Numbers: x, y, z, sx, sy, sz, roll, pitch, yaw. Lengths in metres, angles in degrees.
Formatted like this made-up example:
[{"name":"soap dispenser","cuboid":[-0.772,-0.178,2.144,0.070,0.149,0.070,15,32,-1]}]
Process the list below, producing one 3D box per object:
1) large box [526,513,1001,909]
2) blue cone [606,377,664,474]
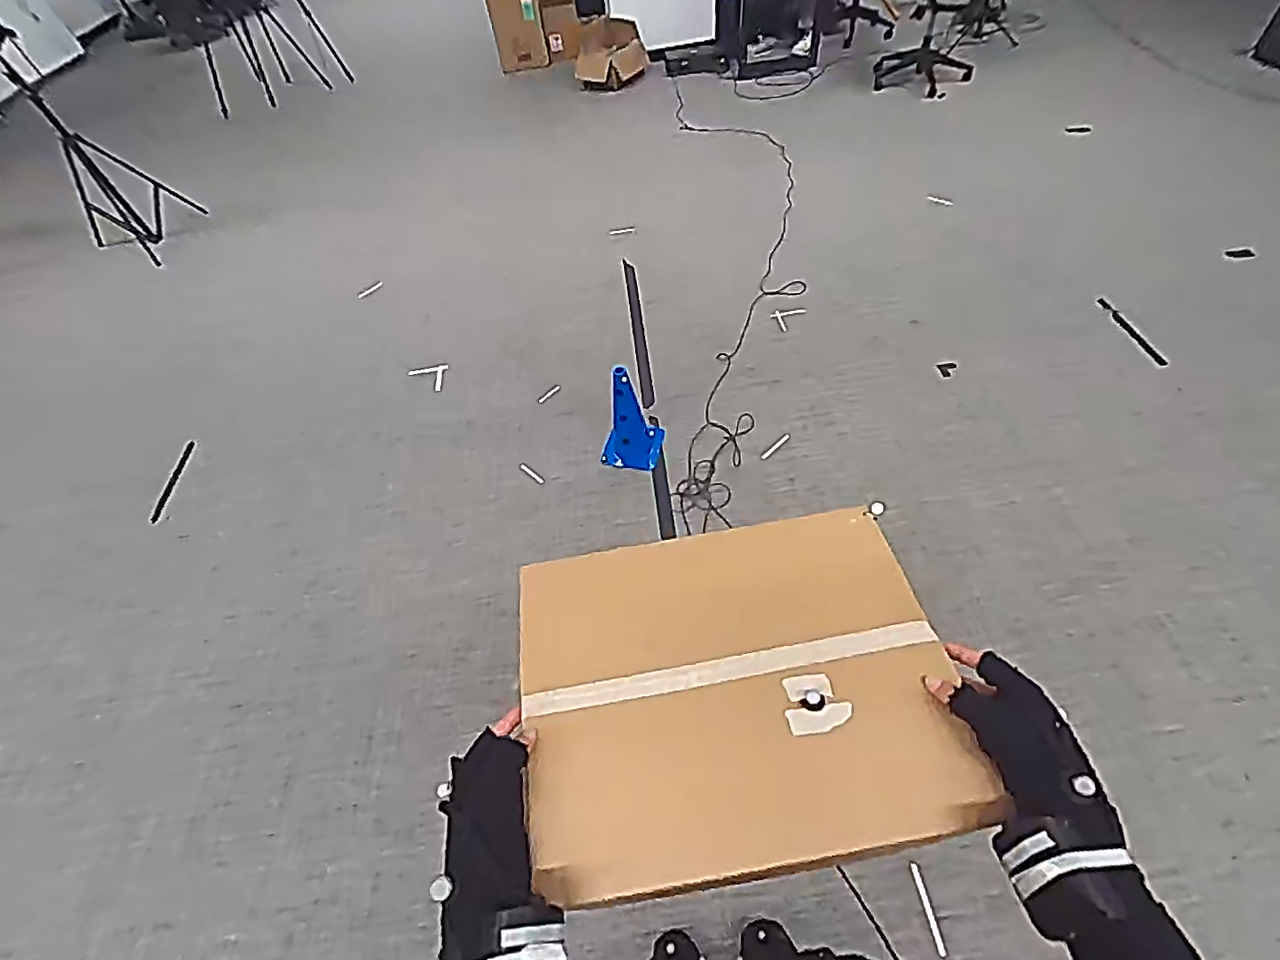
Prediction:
[{"name":"large box","cuboid":[0.099,0.283,0.652,0.408,0.320,0.320,-10,51,-1]},{"name":"blue cone","cuboid":[-0.036,-0.204,1.821,0.193,0.380,0.192,8,55,15]}]
